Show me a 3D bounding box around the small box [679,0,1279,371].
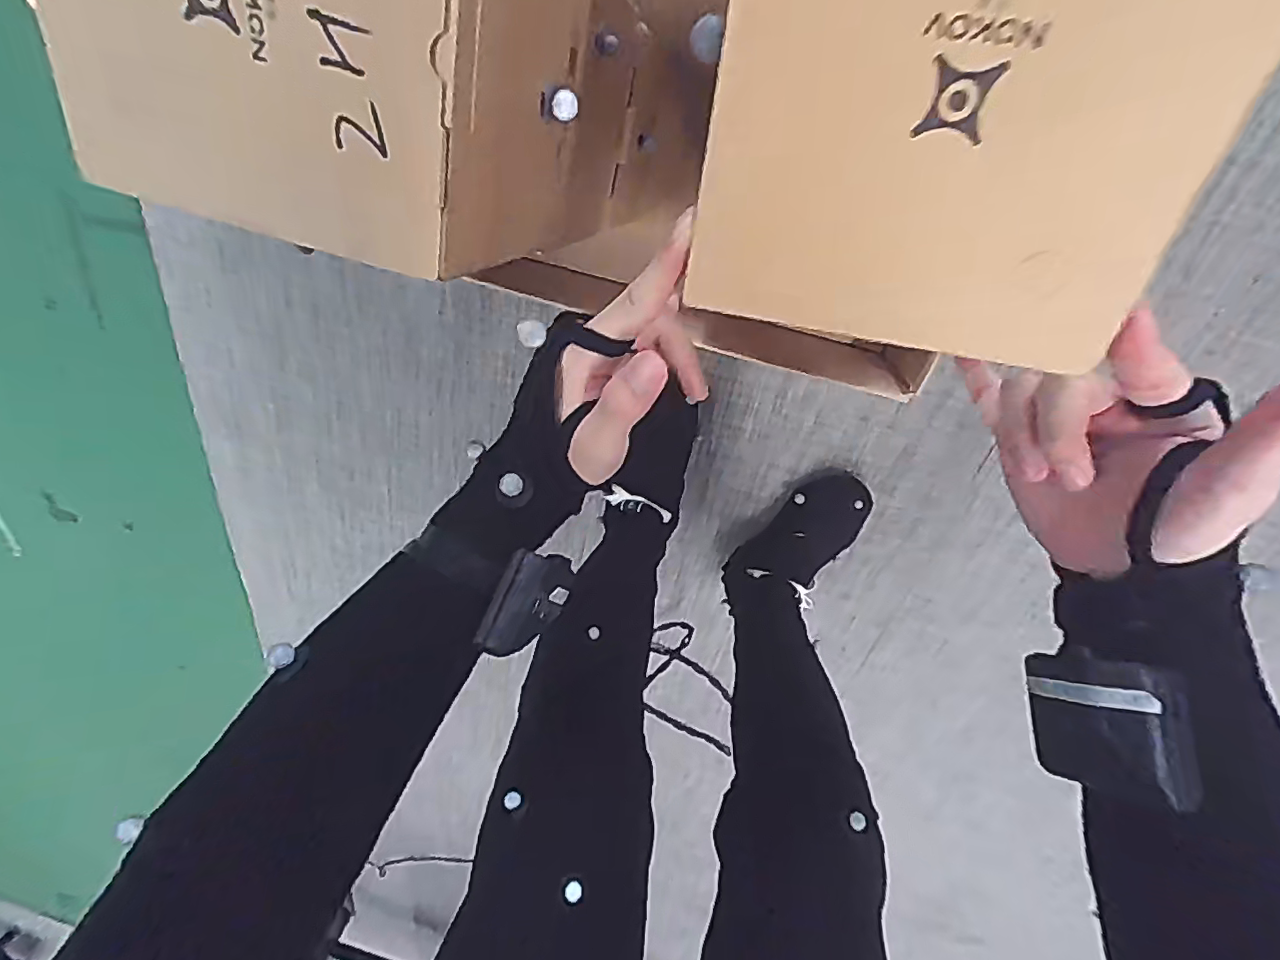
[{"bbox_3d":[0.124,-0.172,0.243,0.168,0.176,0.179,13,122,9],"label":"small box"}]

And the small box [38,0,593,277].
[{"bbox_3d":[-0.138,-0.218,0.272,0.179,0.176,0.168,17,120,2],"label":"small box"}]
